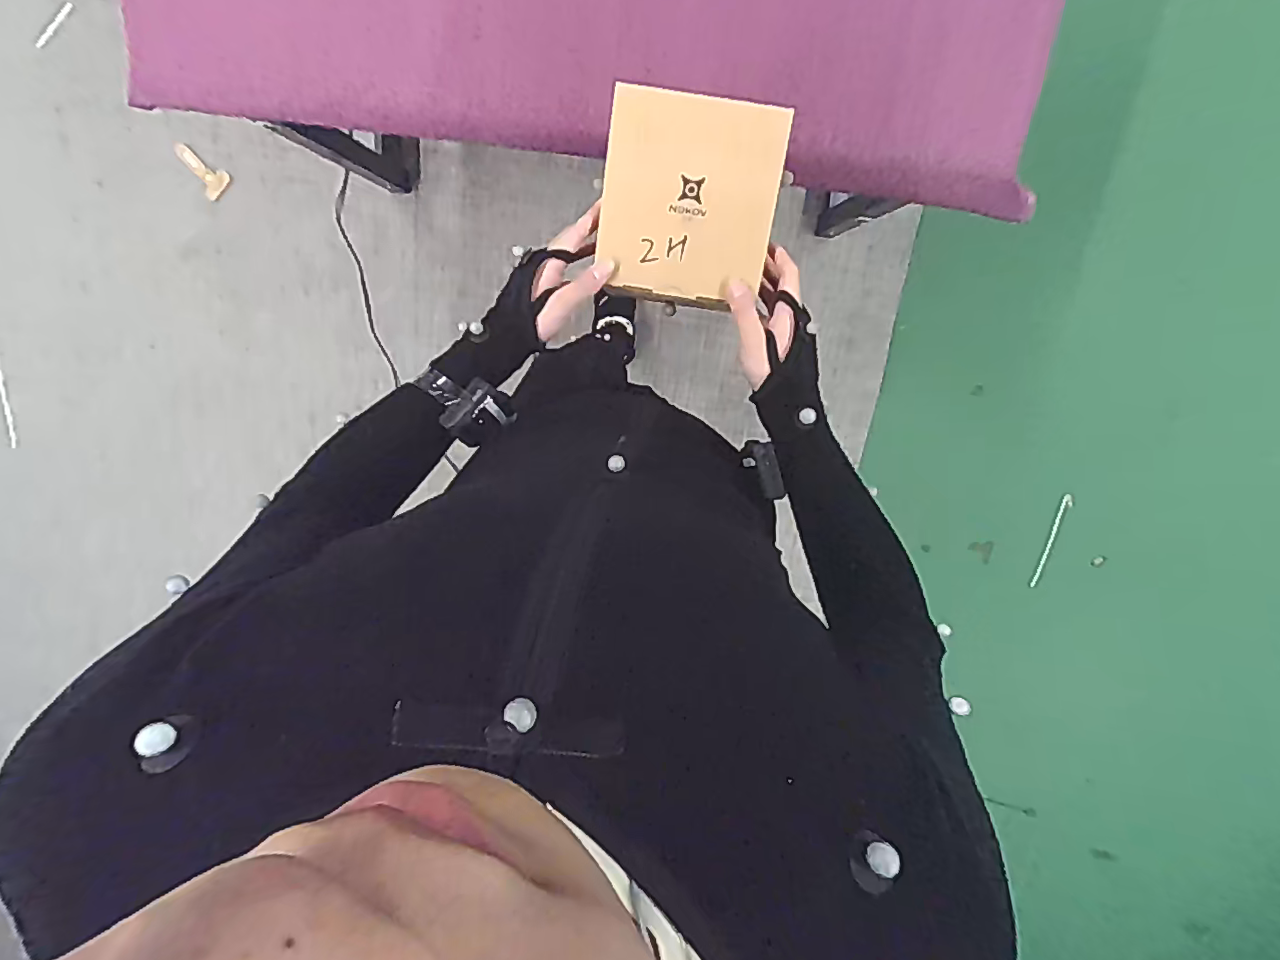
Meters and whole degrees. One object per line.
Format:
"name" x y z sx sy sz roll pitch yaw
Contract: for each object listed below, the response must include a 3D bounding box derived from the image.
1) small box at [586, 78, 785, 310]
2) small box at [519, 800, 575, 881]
"small box" 0.043 -0.291 0.590 0.168 0.176 0.179 10 106 1
"small box" -0.329 1.287 1.939 0.168 0.176 0.179 9 107 -2
